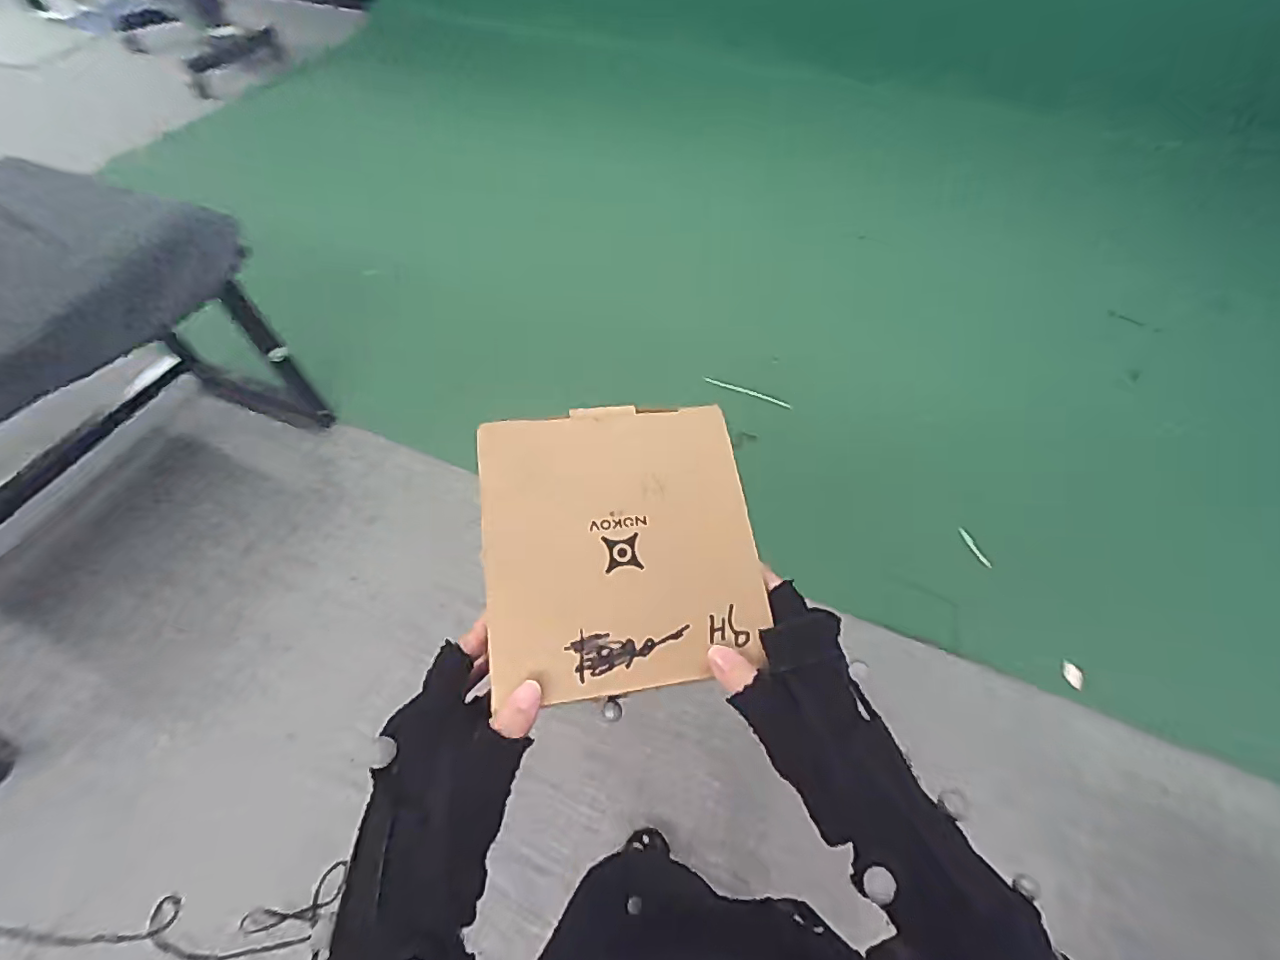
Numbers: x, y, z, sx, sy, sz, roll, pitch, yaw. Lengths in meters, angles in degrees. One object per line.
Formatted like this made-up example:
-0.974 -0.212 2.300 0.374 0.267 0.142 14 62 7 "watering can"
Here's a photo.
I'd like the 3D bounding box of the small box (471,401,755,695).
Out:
-0.033 0.060 0.416 0.168 0.176 0.179 -6 69 -10 "small box"
